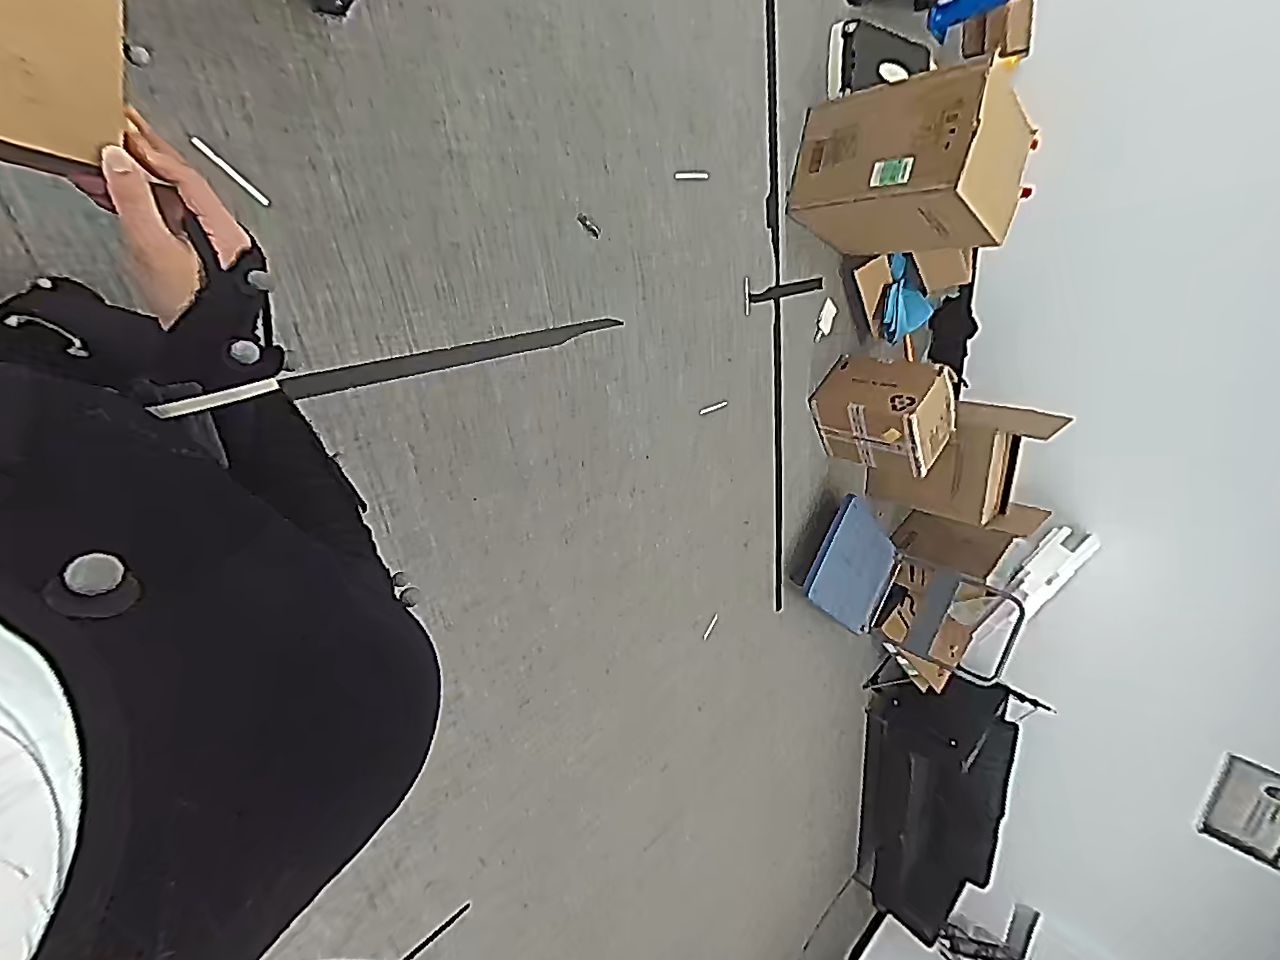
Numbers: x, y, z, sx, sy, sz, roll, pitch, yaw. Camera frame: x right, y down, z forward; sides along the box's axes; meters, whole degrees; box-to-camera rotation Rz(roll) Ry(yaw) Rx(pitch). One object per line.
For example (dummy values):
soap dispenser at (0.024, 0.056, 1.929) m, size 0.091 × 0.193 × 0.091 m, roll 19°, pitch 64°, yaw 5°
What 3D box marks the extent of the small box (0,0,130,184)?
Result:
small box at (-0.393, -0.282, 0.290) m, size 0.168 × 0.176 × 0.179 m, roll -1°, pitch 109°, yaw -46°
